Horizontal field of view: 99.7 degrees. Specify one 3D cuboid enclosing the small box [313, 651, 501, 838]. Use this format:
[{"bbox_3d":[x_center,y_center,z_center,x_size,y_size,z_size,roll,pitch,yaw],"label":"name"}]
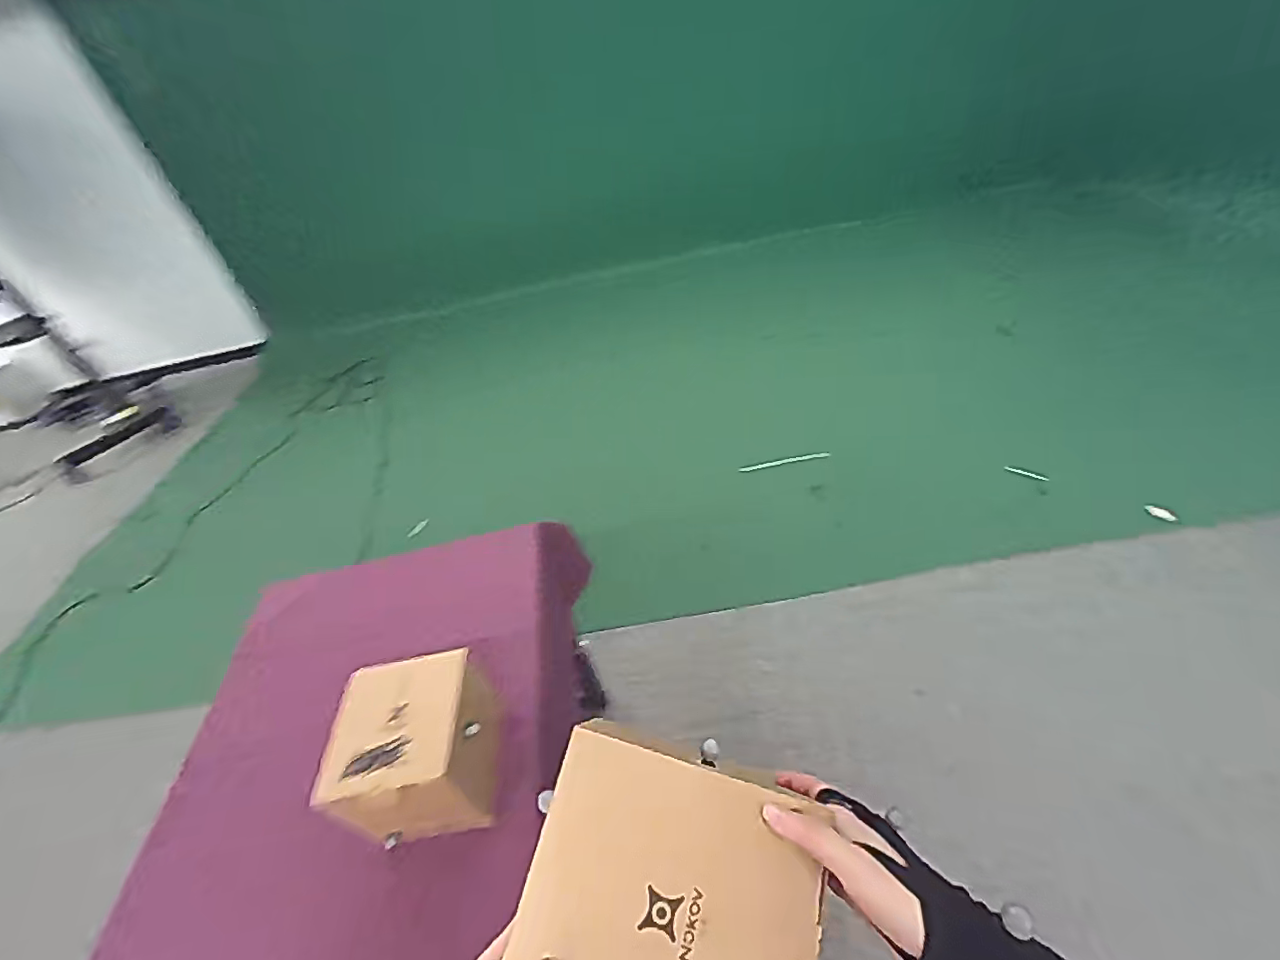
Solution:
[{"bbox_3d":[-0.304,0.372,0.753,0.168,0.176,0.179,-12,40,2],"label":"small box"}]
